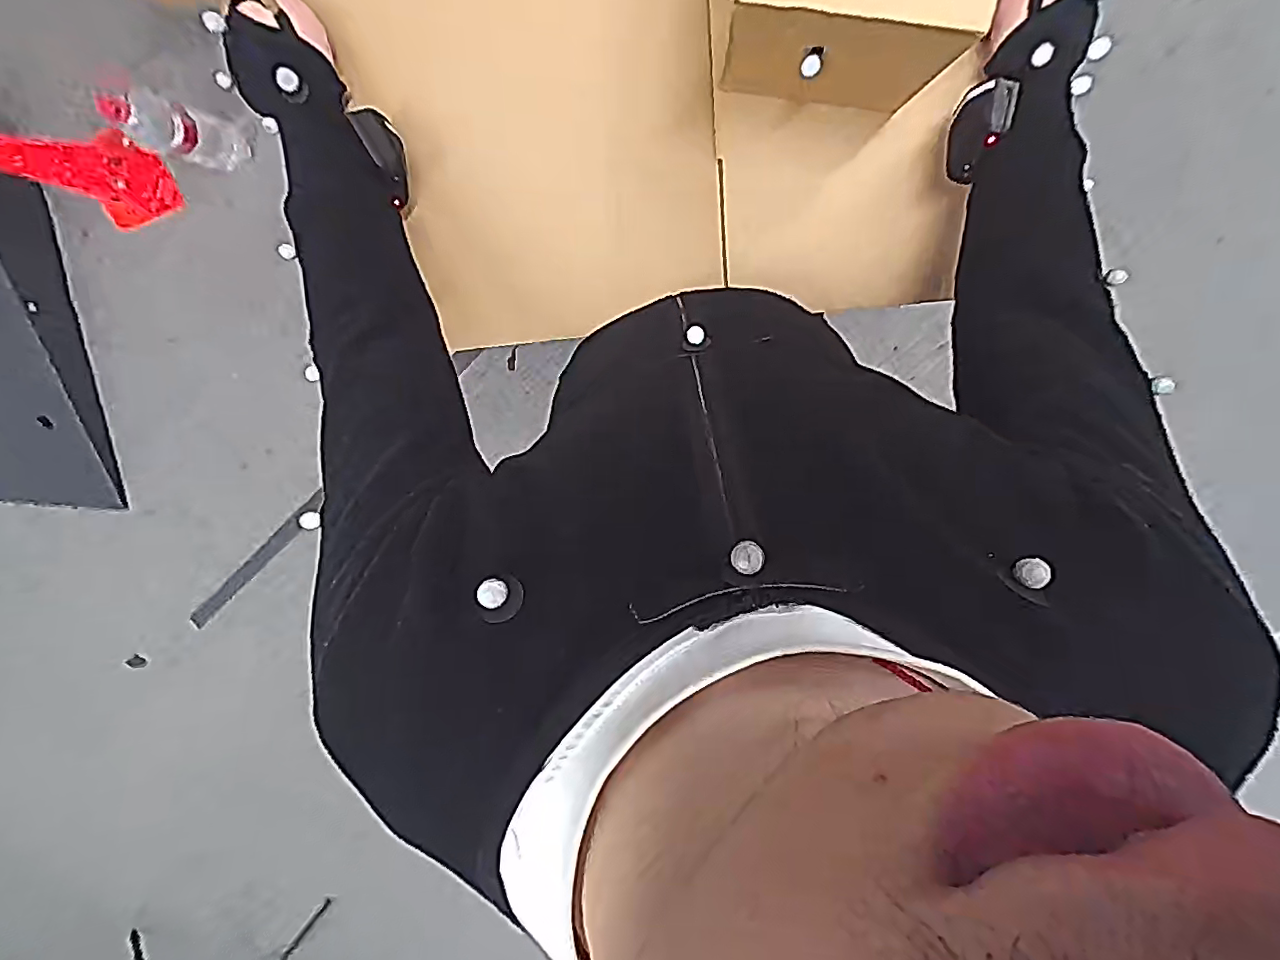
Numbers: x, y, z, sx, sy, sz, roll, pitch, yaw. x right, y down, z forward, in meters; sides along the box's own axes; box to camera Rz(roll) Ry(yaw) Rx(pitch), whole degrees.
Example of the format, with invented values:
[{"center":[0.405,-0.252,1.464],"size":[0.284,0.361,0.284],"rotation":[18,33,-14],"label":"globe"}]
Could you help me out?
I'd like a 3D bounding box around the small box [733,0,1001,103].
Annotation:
[{"center":[0.175,-0.422,0.420],"size":[0.179,0.176,0.168],"rotation":[10,110,2],"label":"small box"}]
